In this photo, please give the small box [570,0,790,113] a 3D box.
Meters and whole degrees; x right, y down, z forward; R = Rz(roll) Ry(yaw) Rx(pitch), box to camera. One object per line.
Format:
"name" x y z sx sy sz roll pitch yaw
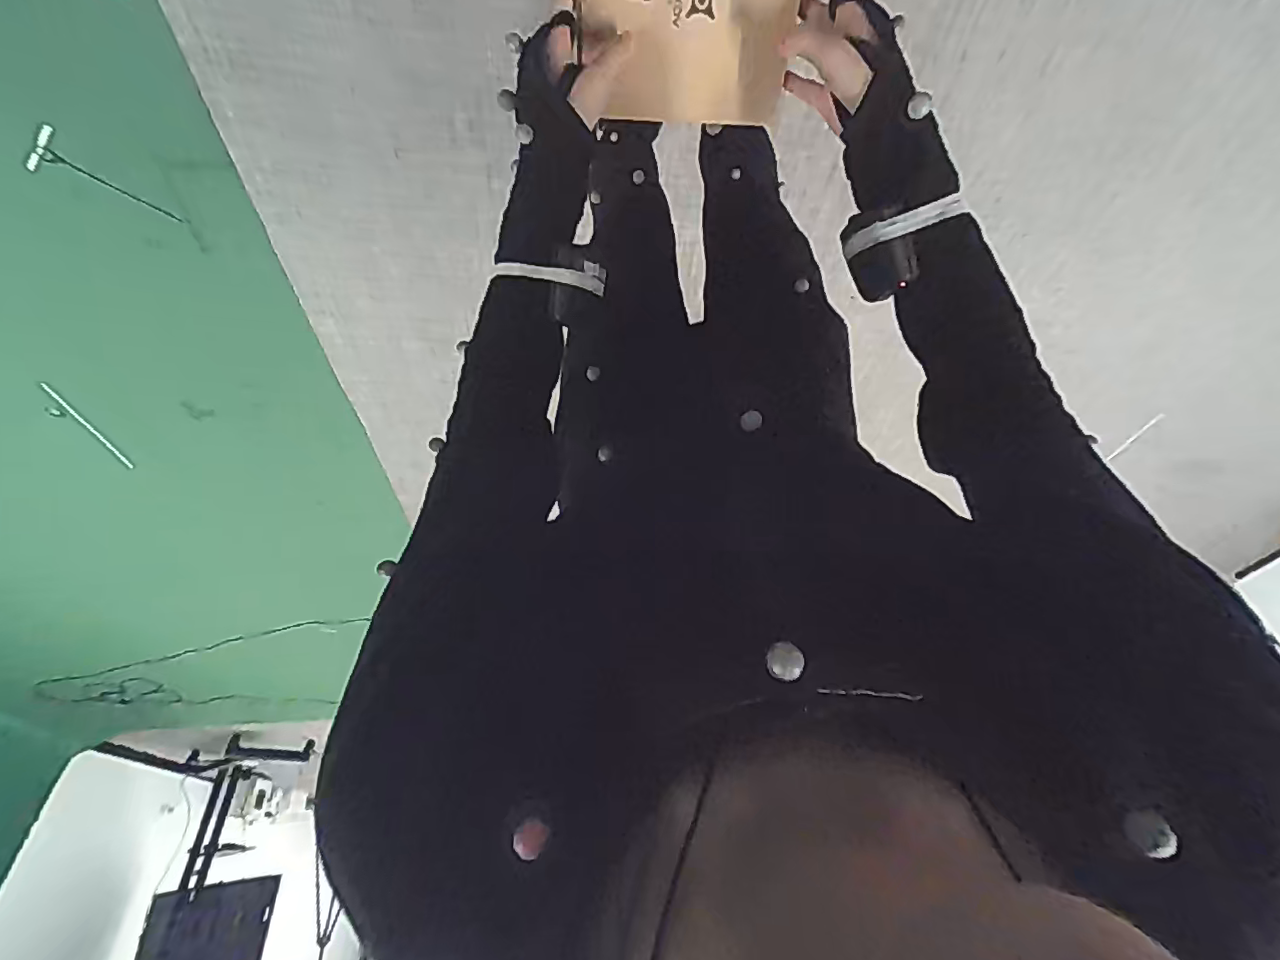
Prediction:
"small box" 0.028 -0.446 0.474 0.179 0.176 0.168 0 136 -7
